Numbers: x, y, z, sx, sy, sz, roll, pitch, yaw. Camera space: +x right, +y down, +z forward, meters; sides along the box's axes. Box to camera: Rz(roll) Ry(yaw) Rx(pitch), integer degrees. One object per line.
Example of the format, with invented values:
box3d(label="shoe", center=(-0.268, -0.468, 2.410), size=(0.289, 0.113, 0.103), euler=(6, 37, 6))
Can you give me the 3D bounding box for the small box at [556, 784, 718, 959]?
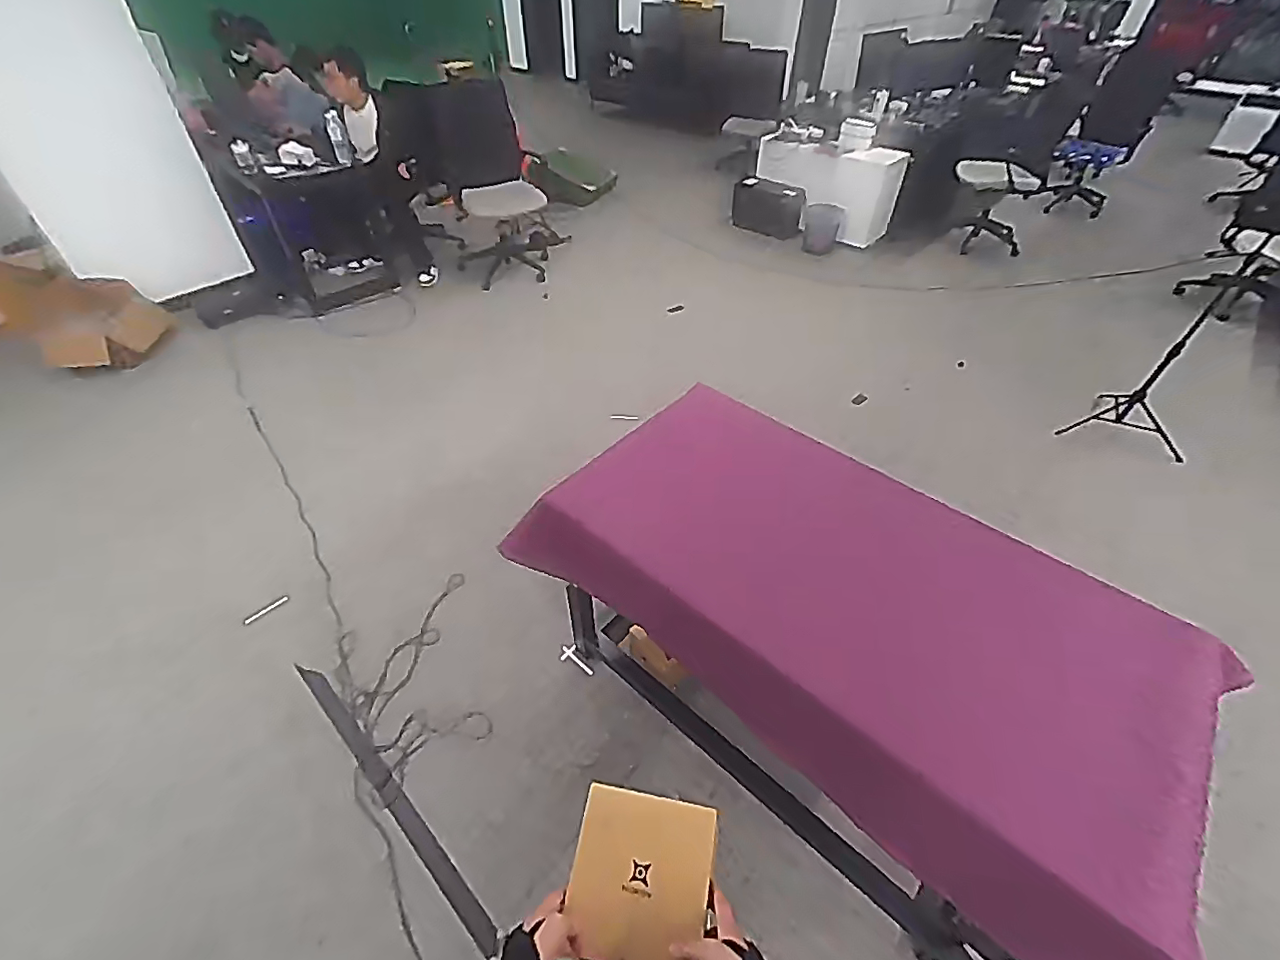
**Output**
box3d(label="small box", center=(0.008, 0.521, 0.703), size=(0.168, 0.176, 0.179), euler=(6, 55, 12))
